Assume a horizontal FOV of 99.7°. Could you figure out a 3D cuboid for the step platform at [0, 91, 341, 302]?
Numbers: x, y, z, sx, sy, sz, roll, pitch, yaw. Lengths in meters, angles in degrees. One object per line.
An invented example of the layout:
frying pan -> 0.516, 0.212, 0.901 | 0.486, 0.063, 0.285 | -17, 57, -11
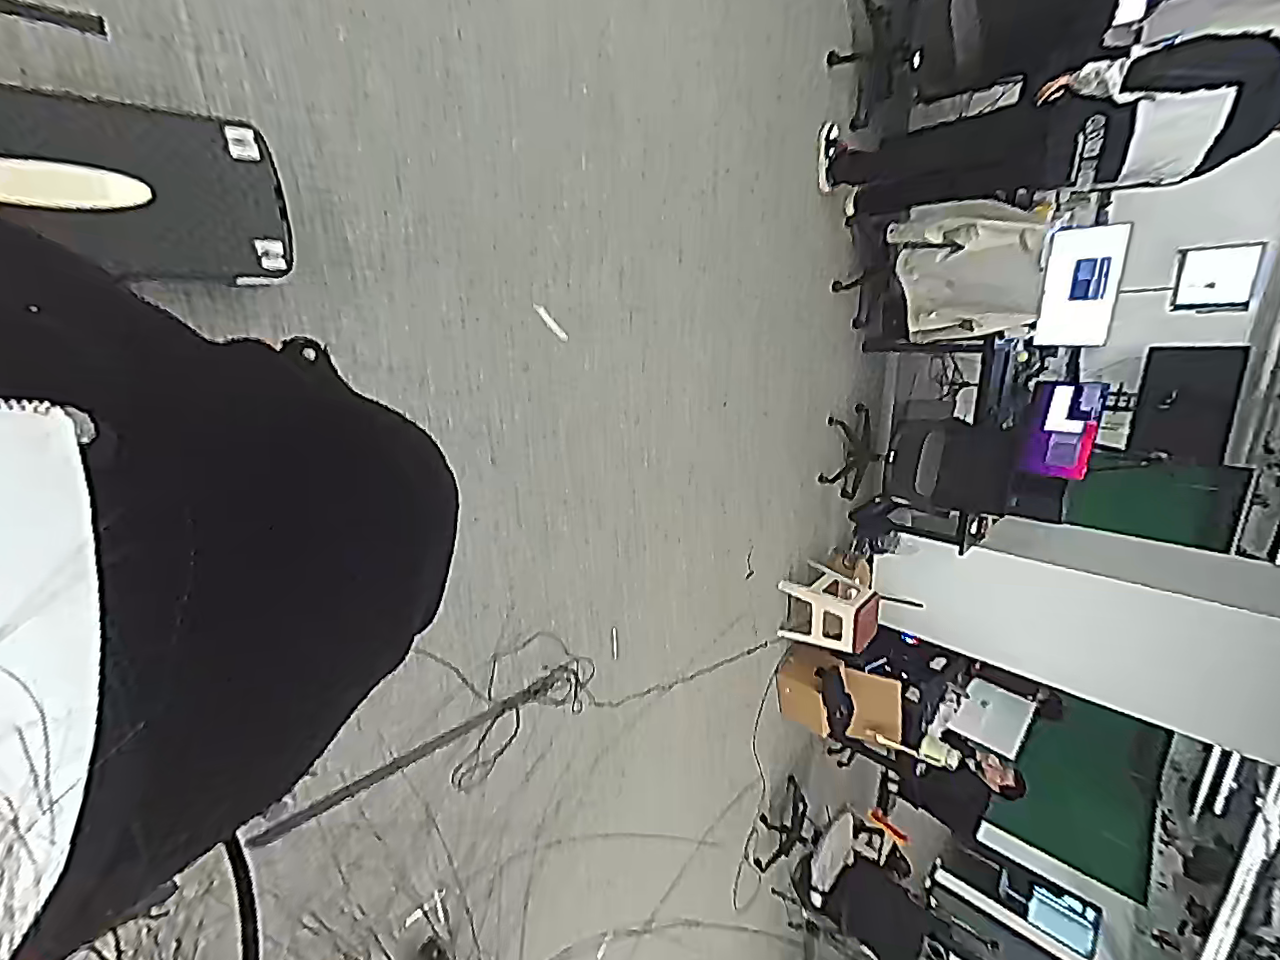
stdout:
step platform -> -0.847, -0.417, 0.792 | 0.684, 0.204, 0.286 | -20, 114, -42
